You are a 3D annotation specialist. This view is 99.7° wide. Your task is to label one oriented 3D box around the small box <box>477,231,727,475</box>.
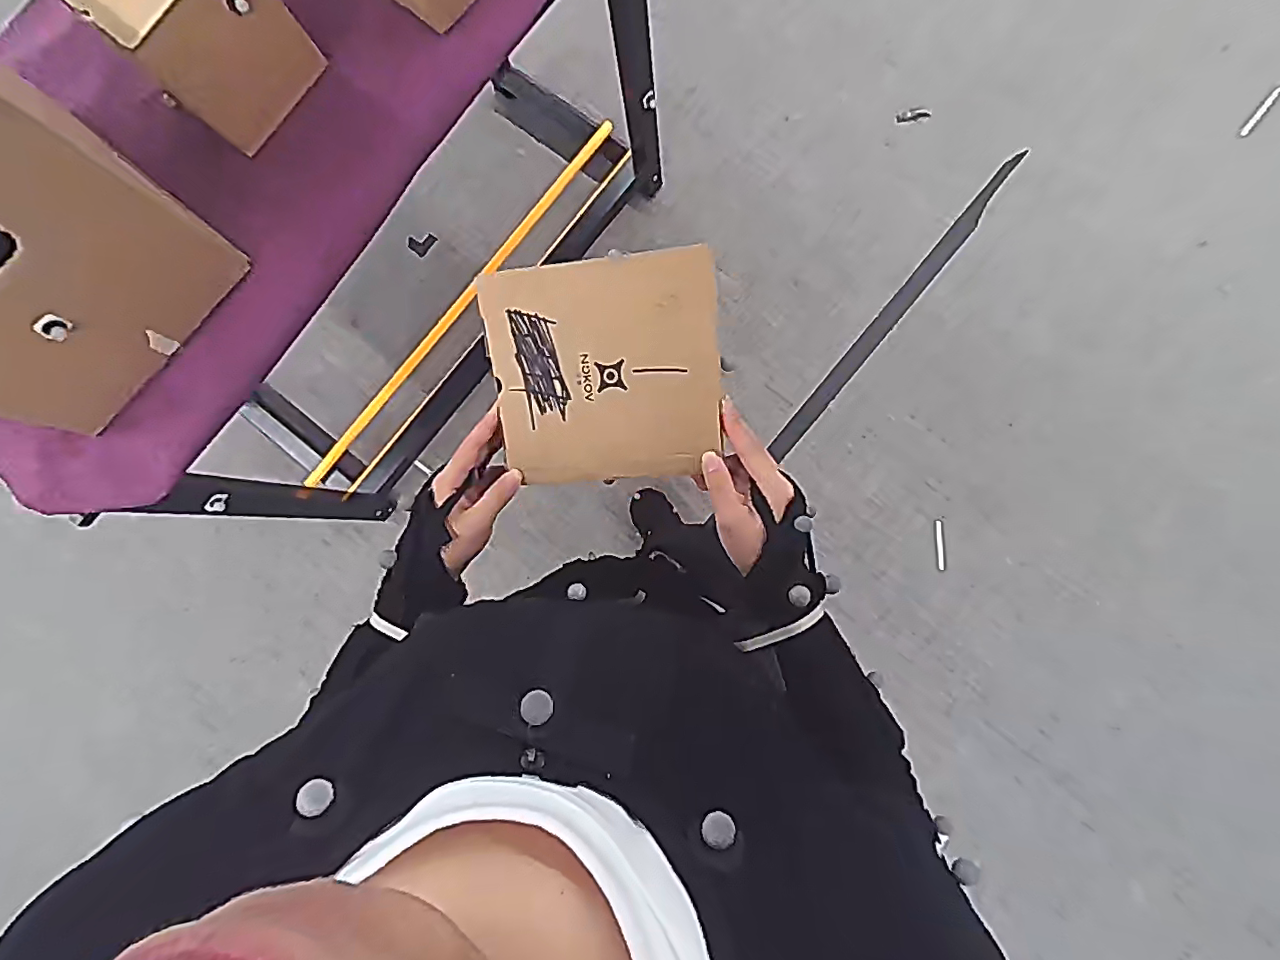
[{"bbox_3d":[-0.016,-0.106,0.475,0.179,0.176,0.168,-4,105,9],"label":"small box"}]
